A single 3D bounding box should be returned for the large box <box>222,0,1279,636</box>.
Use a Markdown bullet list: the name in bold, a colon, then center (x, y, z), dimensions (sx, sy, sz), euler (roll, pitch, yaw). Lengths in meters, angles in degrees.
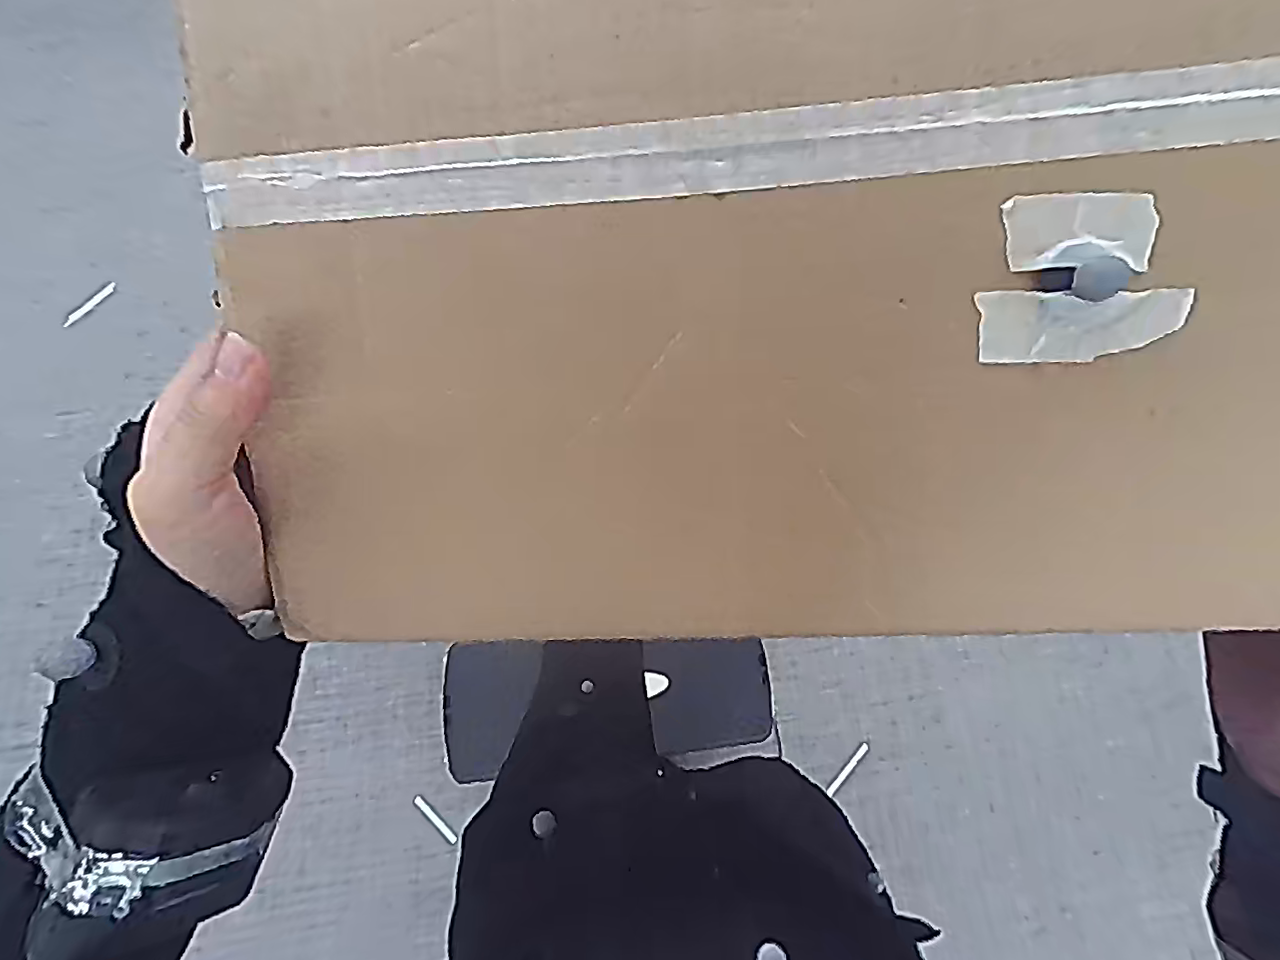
- **large box**: center (0.068, -0.122, 0.325), dimensions (0.408, 0.320, 0.320), euler (-3, 99, 4)
